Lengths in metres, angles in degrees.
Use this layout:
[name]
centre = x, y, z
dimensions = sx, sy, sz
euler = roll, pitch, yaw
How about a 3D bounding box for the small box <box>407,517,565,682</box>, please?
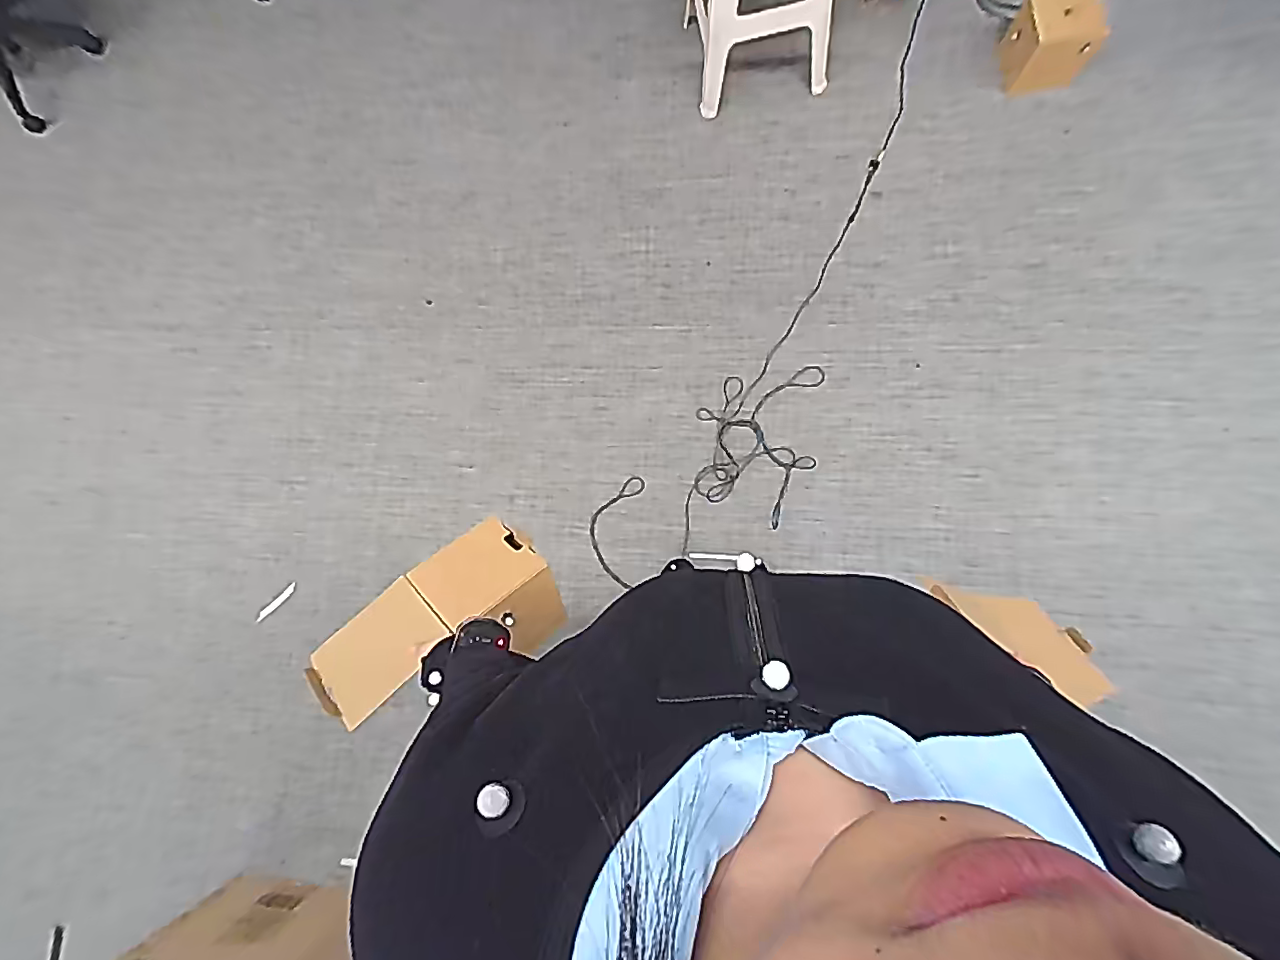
[small box]
centre = -0.251, 0.202, 0.913
dimensions = 0.179, 0.176, 0.168
euler = -37, 50, -27
